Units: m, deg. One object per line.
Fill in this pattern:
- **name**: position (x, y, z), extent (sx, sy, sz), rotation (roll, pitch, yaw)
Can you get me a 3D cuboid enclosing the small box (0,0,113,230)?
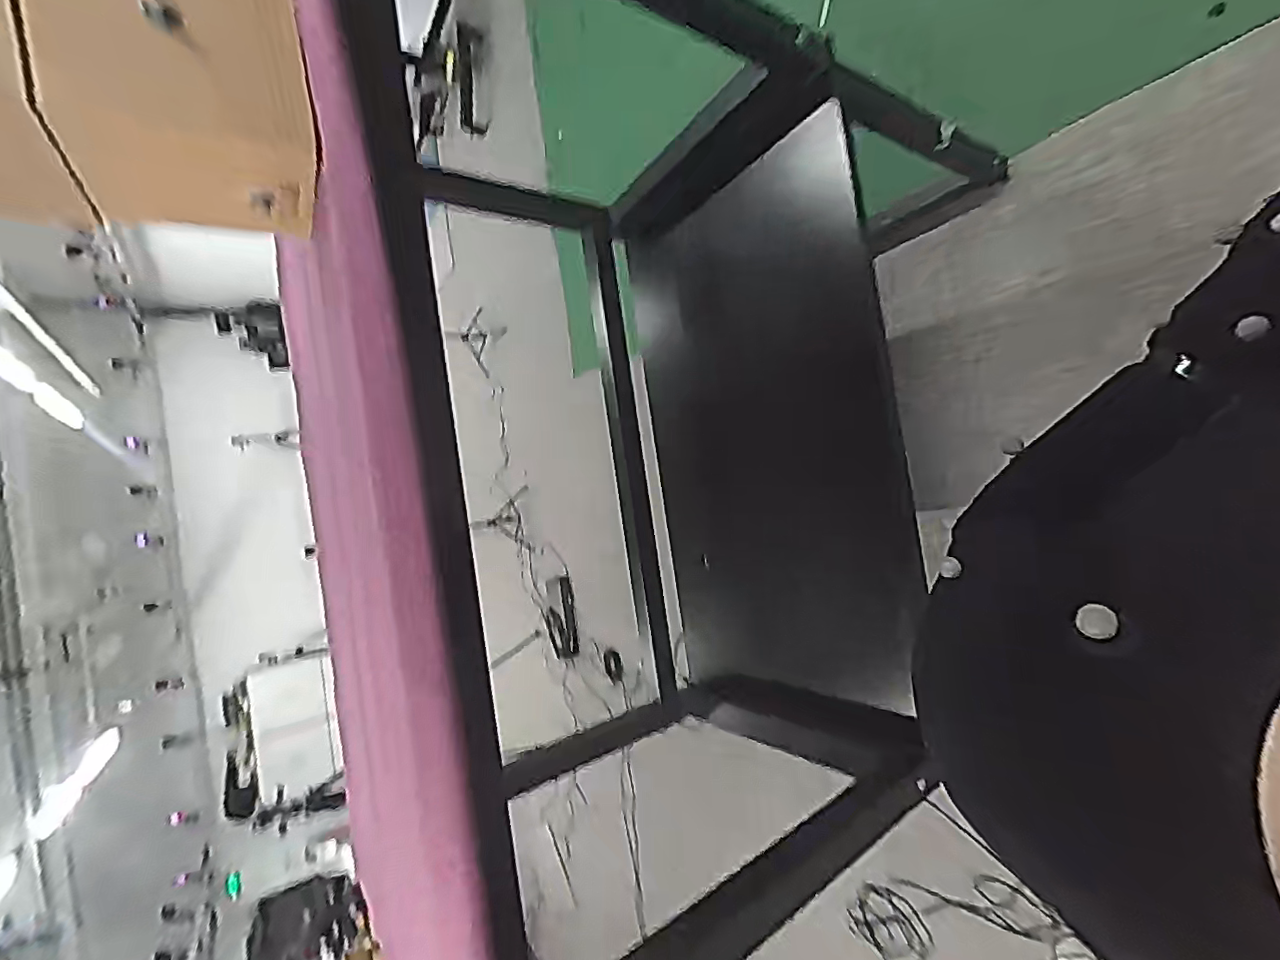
- **small box**: position (-0.519, -0.301, 0.382), extent (0.179, 0.176, 0.168), rotation (-9, 91, 56)
